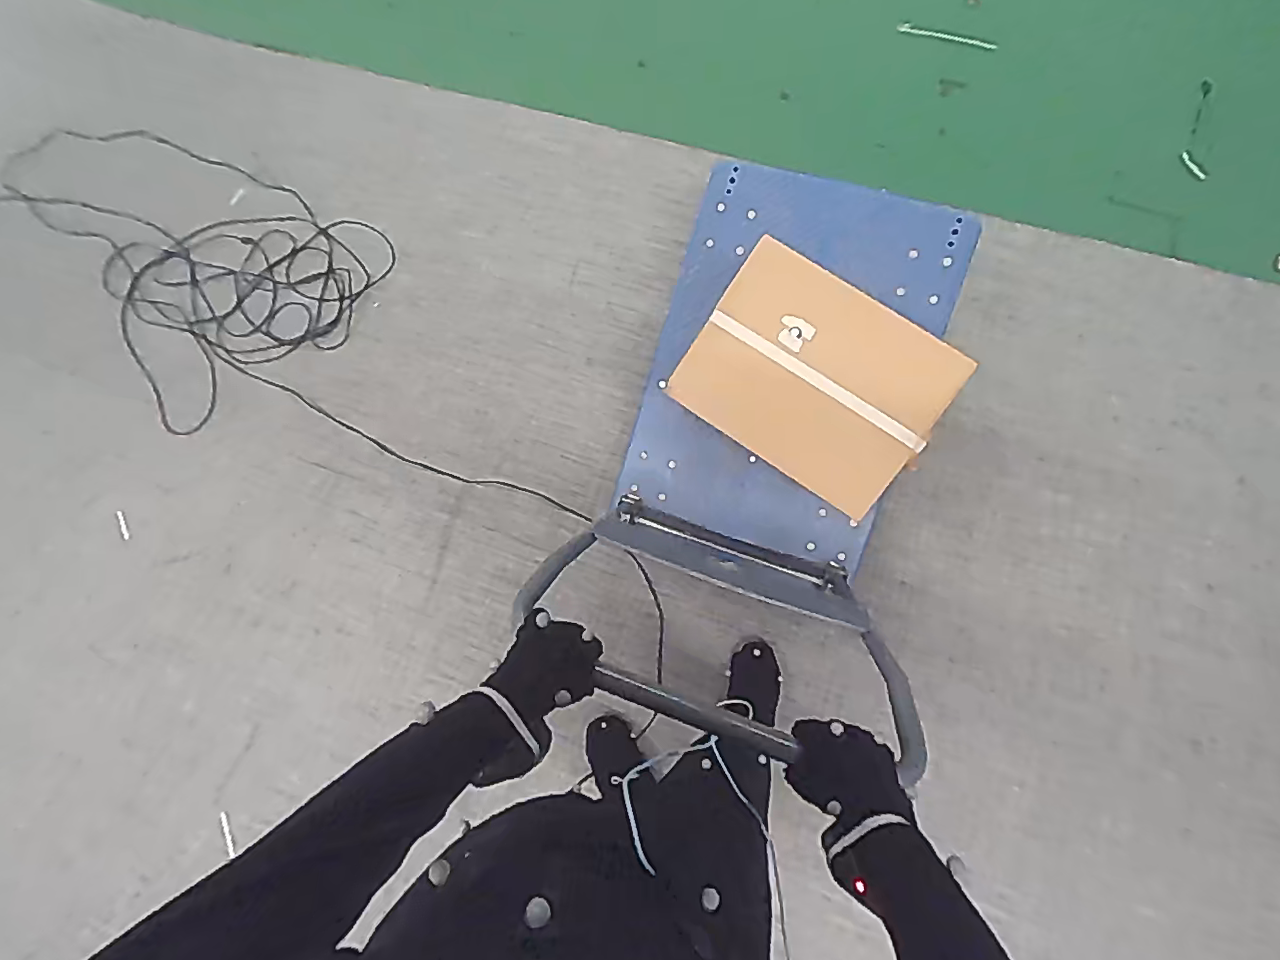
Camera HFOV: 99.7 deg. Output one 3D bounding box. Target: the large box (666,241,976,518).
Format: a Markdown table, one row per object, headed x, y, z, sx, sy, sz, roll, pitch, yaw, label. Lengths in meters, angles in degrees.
| x | y | z | sx | sy | sz | roll | pitch | yaw | label |
| --- | --- | --- | --- | --- | --- | --- | --- | --- | --- |
| 0.319 | -0.178 | 1.042 | 0.408 | 0.320 | 0.320 | 35 | 100 | 8 | large box |
